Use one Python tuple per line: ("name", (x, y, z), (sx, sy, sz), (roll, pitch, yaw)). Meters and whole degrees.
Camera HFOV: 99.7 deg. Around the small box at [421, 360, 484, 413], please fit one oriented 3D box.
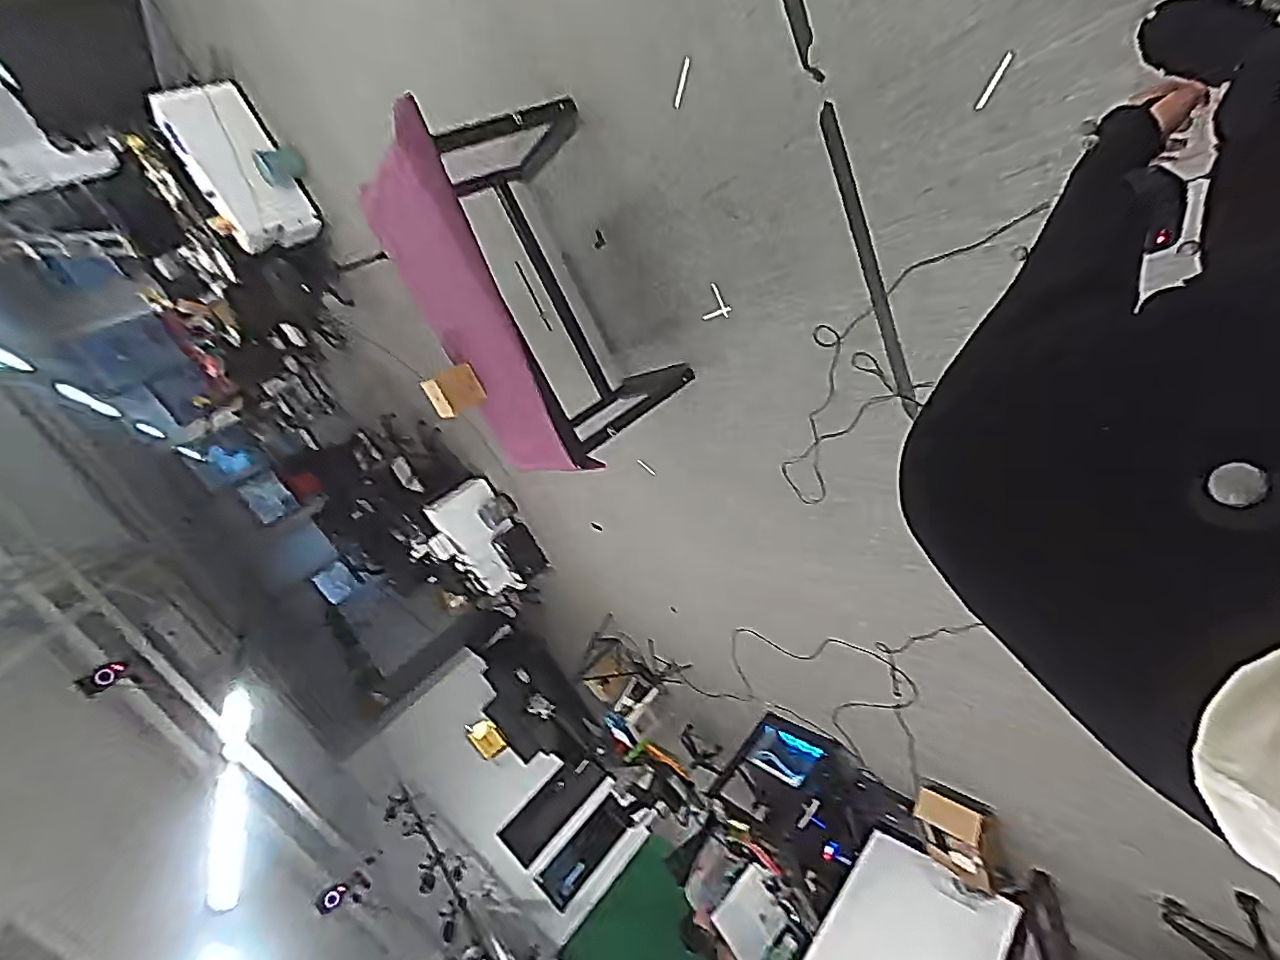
("small box", (-0.789, -0.394, 2.283), (0.179, 0.176, 0.168), (5, 126, 52))
